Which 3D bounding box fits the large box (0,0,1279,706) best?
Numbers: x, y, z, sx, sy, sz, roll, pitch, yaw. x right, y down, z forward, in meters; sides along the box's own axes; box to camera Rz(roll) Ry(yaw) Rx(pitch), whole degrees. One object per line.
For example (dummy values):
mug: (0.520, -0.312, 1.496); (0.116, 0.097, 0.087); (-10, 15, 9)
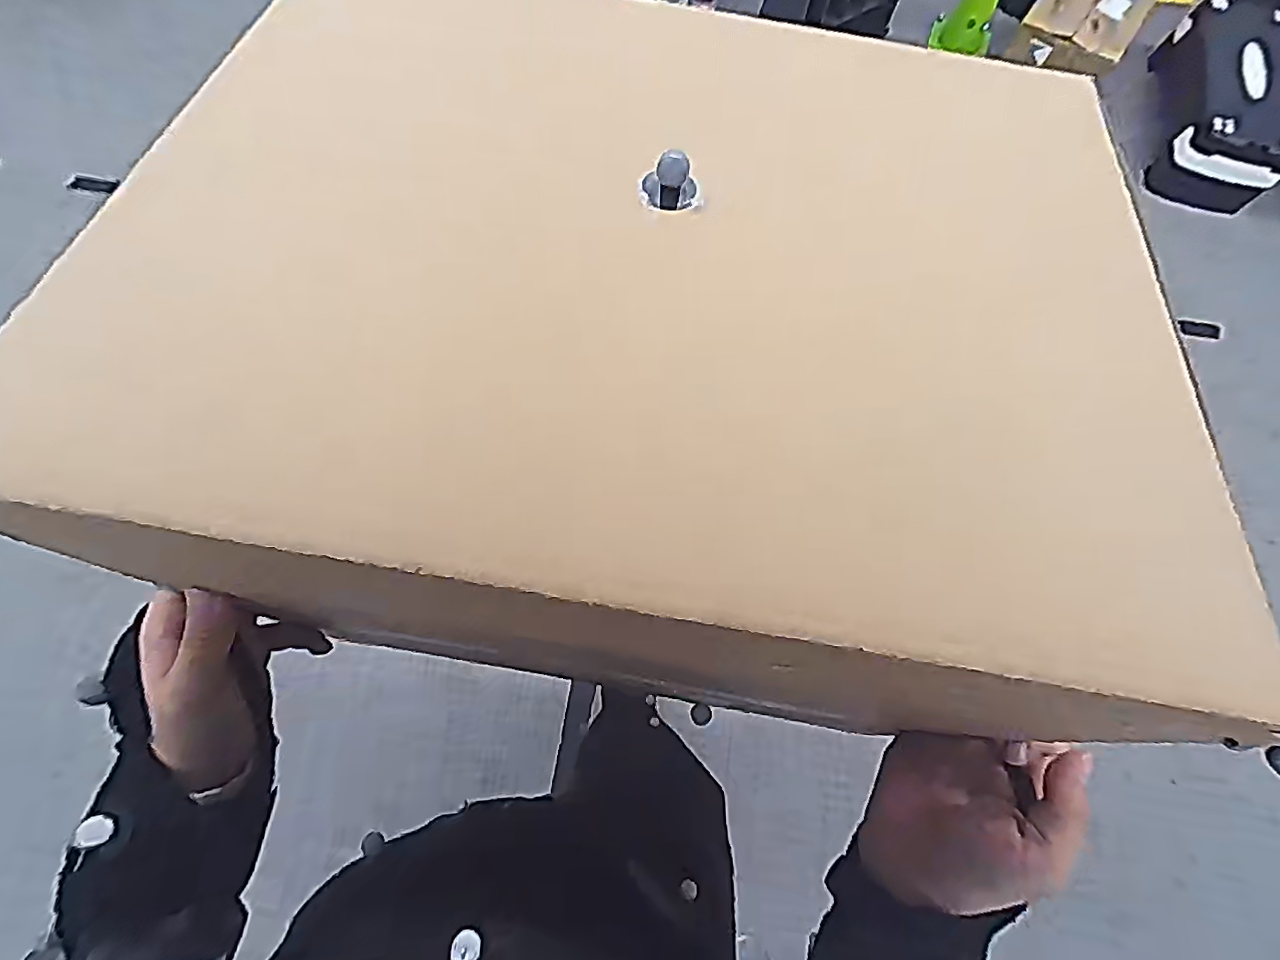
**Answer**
large box: (0.004, -0.056, 0.350); (0.408, 0.320, 0.320); (9, 67, 1)
